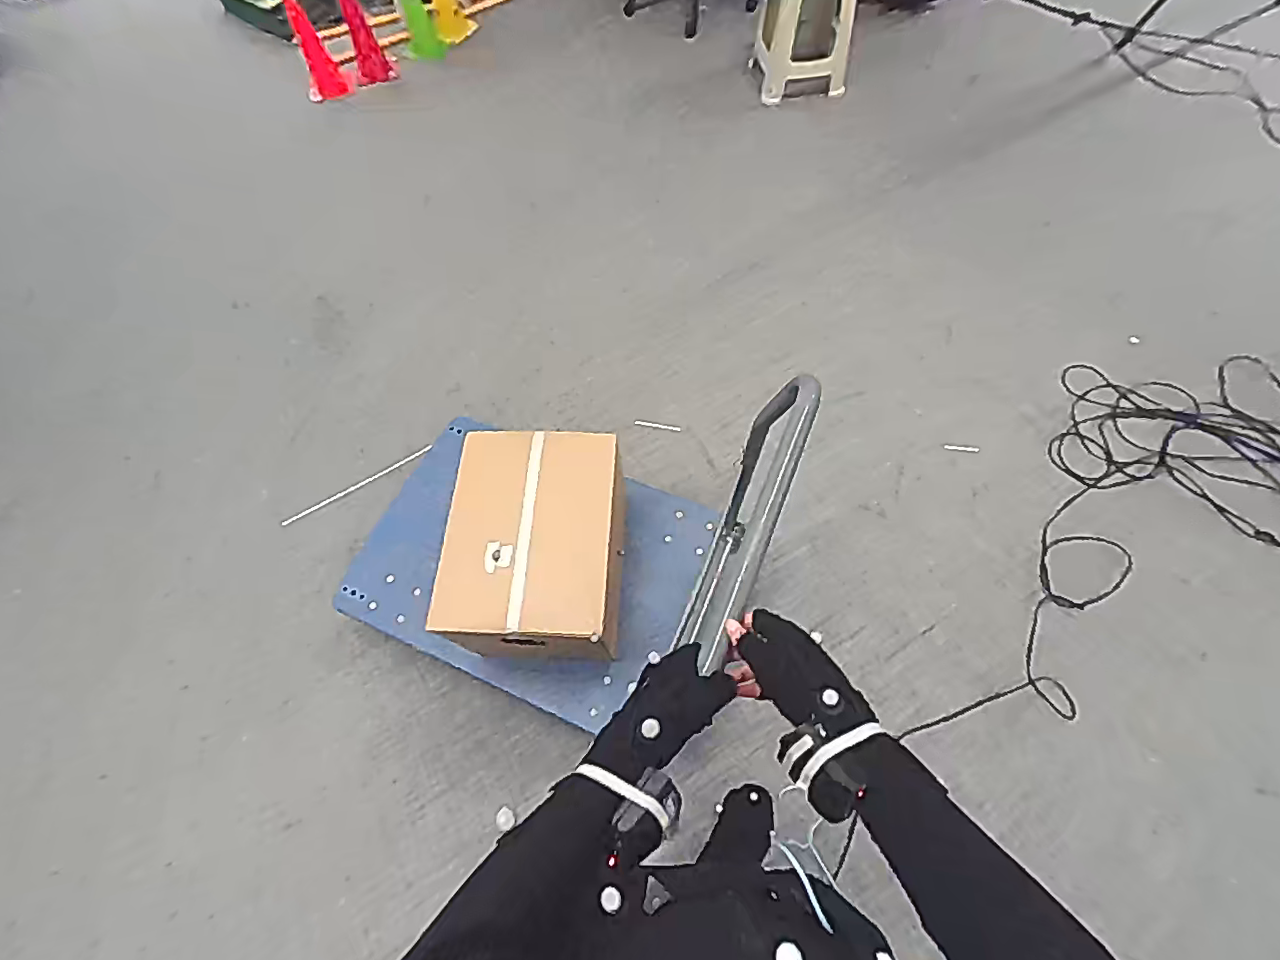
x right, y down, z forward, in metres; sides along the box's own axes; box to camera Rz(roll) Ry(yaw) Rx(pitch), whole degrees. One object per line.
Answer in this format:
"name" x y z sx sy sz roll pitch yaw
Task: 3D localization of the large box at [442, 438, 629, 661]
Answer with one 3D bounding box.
"large box" -0.187 0.157 1.158 0.320 0.320 0.408 1 65 4
